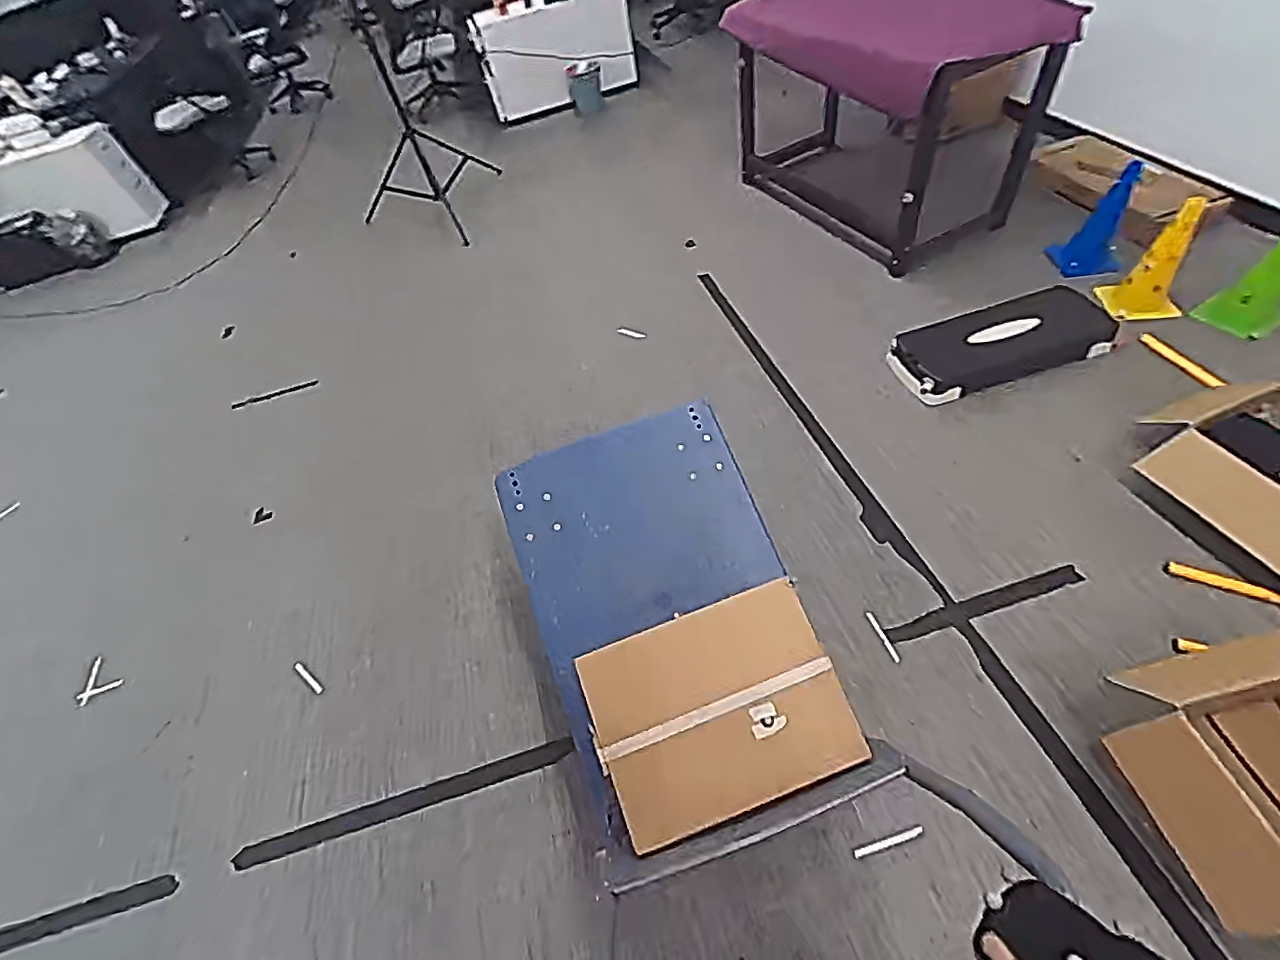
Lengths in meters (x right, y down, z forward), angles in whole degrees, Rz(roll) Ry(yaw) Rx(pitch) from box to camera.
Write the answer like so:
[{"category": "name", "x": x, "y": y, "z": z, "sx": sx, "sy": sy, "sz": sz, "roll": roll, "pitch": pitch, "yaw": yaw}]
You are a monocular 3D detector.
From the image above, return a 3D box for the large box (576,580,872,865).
[{"category": "large box", "x": 0.132, "y": 0.425, "z": 1.017, "sx": 0.408, "sy": 0.320, "sz": 0.320, "roll": -21, "pitch": 73, "yaw": -5}]
